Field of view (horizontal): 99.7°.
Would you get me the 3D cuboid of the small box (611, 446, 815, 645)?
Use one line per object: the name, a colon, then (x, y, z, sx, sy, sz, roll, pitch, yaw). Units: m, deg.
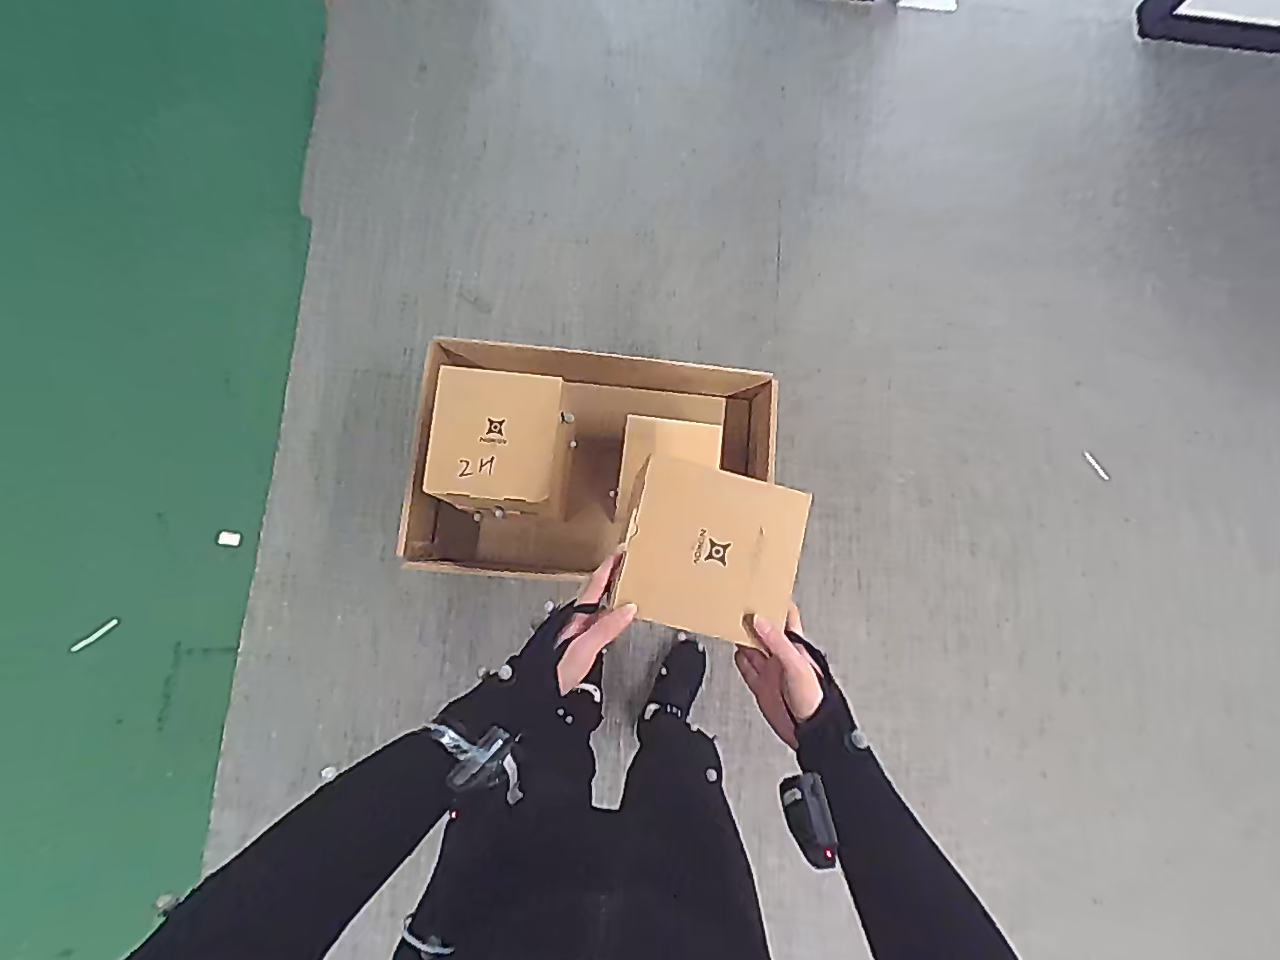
small box: (0.069, 0.075, 0.616, 0.179, 0.176, 0.168, 15, 81, -4)

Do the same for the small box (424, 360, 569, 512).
small box: (-0.195, -0.055, 0.788, 0.168, 0.176, 0.179, 6, 81, -4)
